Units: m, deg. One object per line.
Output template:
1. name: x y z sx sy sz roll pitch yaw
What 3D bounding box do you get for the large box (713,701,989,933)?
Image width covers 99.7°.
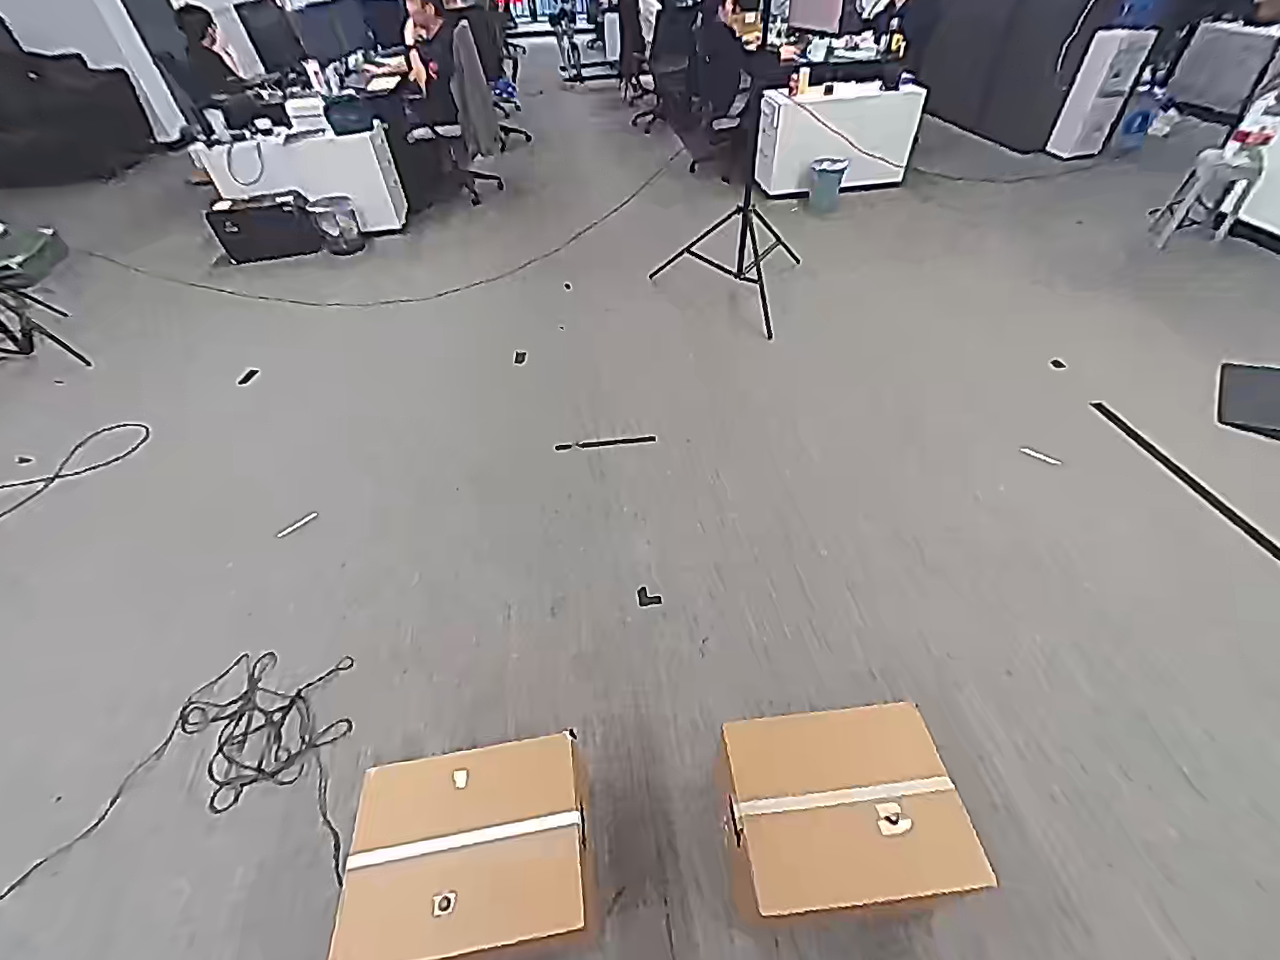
1. large box: 0.385 0.691 1.111 0.408 0.320 0.320 -5 46 -3
